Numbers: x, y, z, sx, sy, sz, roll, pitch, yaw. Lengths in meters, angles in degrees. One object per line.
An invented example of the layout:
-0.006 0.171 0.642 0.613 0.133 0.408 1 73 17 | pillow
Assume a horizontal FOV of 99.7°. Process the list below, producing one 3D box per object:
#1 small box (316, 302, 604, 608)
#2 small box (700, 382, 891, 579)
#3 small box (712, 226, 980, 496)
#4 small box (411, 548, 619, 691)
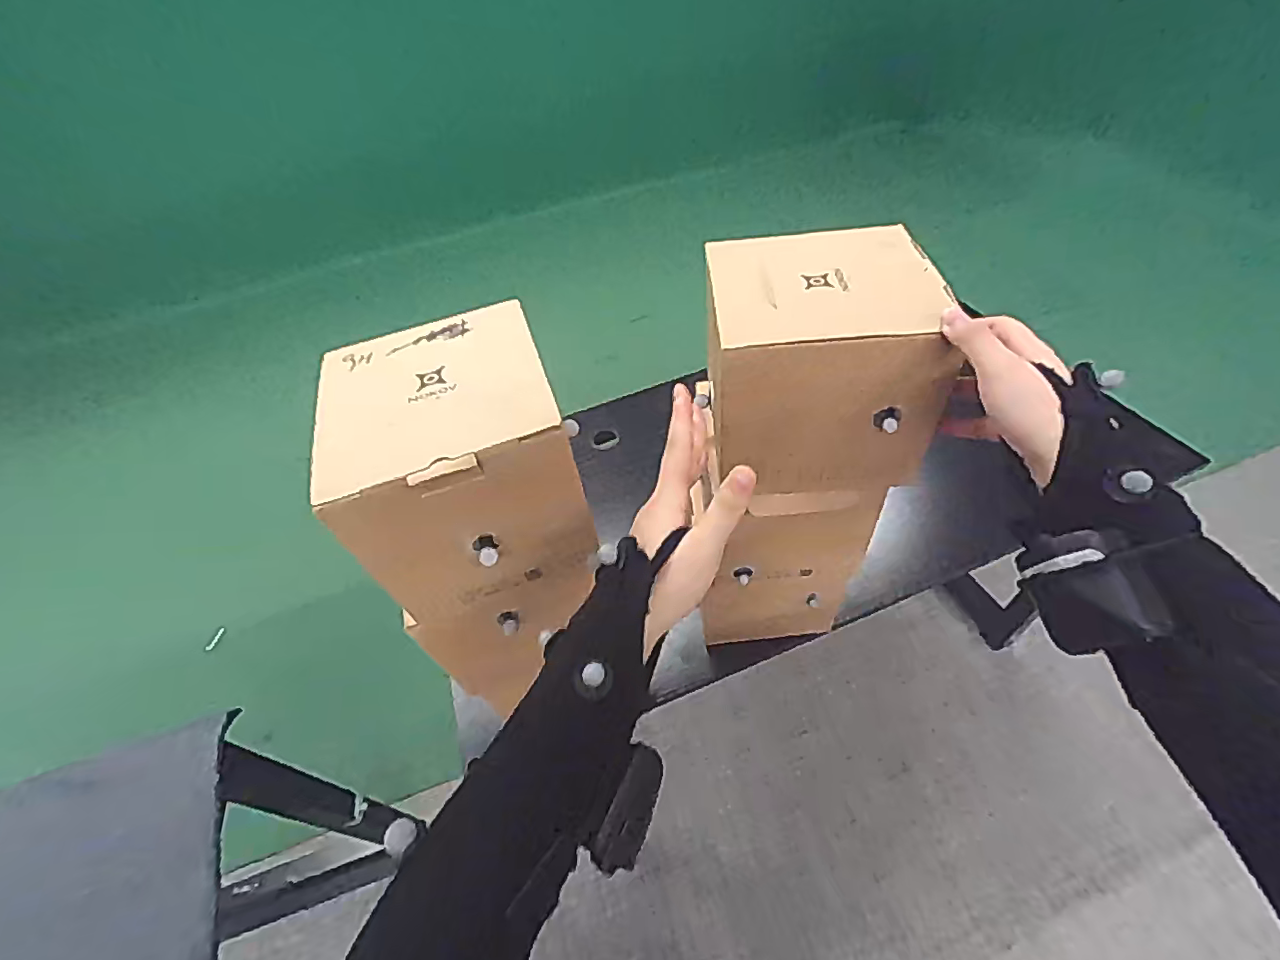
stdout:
-0.138 -0.013 0.454 0.168 0.176 0.179 -18 50 -6 | small box
0.160 0.000 0.614 0.168 0.176 0.179 -5 48 4 | small box
0.157 -0.101 0.487 0.179 0.176 0.168 -4 48 5 | small box
-0.128 0.095 0.578 0.179 0.176 0.168 -20 50 -8 | small box
